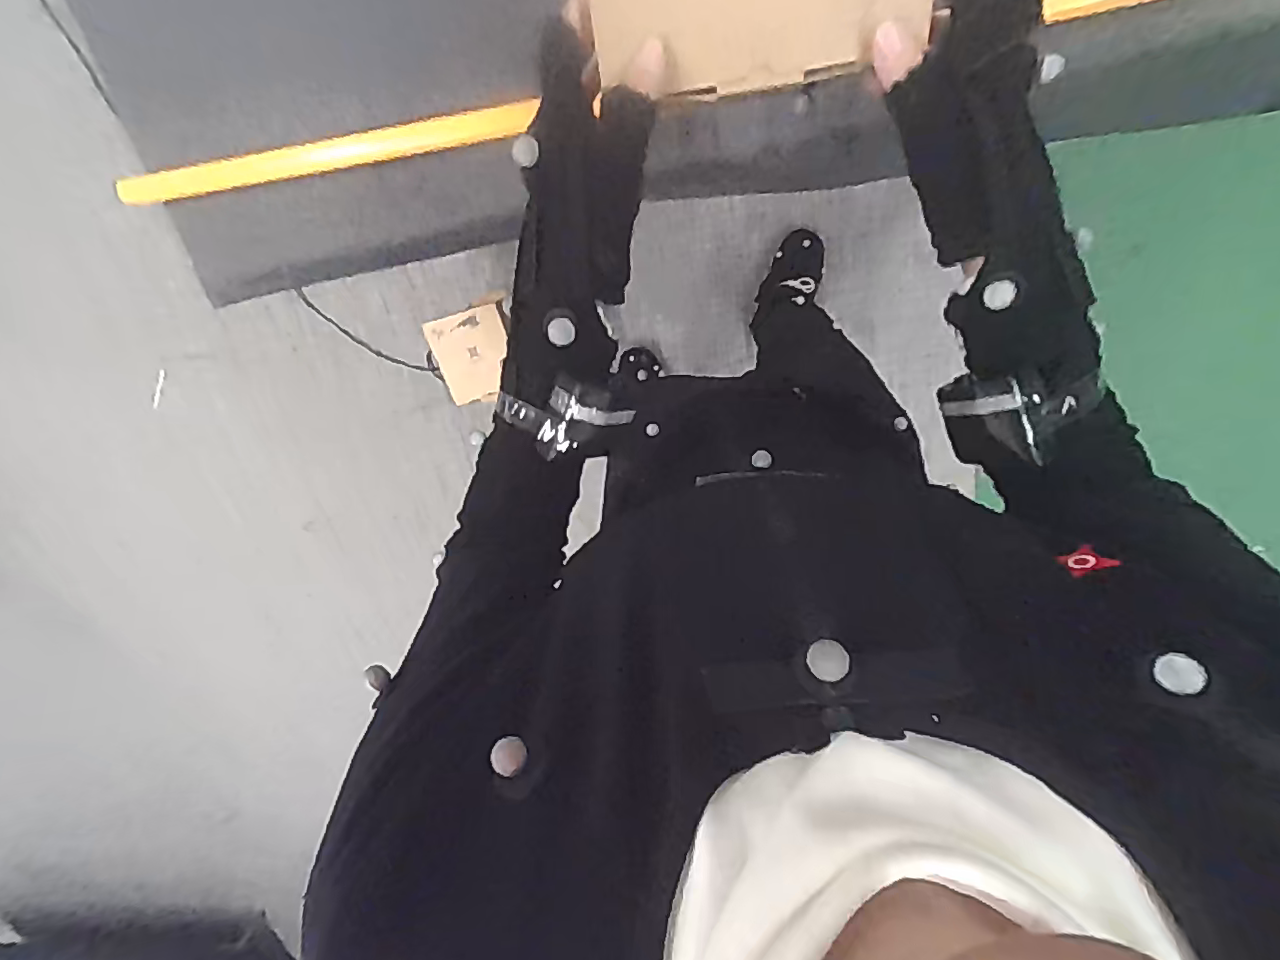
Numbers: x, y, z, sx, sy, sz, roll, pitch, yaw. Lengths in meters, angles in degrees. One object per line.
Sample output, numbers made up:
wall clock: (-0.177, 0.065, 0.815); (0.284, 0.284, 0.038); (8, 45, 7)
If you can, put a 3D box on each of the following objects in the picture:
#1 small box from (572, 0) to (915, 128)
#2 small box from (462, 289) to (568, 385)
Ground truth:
small box: (0.048, -0.313, 0.305); (0.168, 0.176, 0.179); (-5, 120, 7)
small box: (-0.294, -0.351, 1.305); (0.168, 0.176, 0.179); (-14, 112, 15)
